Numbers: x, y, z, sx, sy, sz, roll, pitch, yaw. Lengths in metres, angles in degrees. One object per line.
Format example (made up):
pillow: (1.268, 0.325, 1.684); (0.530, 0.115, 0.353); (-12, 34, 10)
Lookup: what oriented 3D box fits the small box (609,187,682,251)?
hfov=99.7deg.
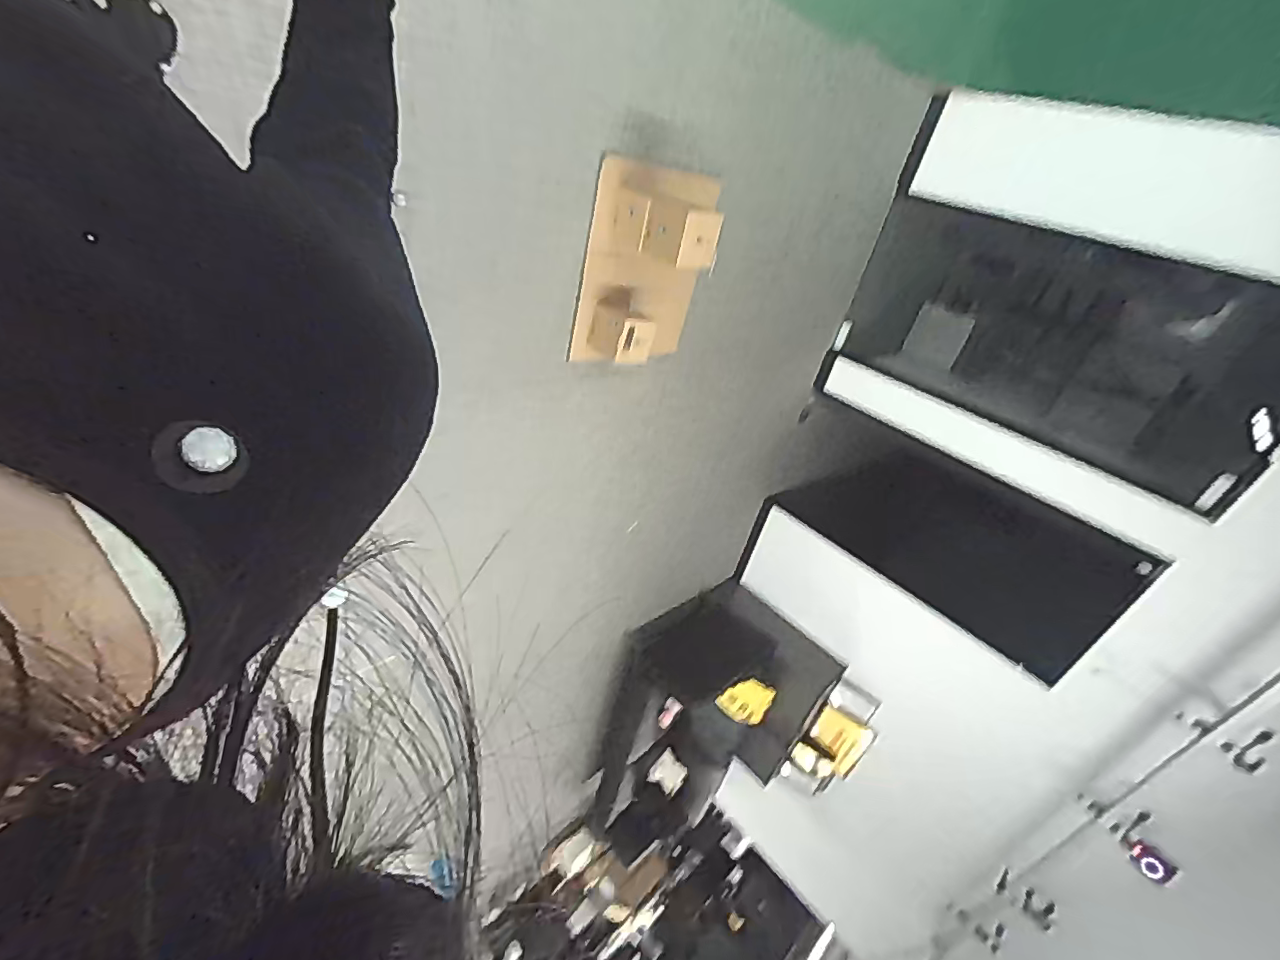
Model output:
small box: (0.017, -0.876, 1.819); (0.179, 0.176, 0.168); (-20, 136, -41)

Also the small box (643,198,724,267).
small box: (0.133, -0.795, 1.734); (0.179, 0.176, 0.168); (-20, 136, -42)
